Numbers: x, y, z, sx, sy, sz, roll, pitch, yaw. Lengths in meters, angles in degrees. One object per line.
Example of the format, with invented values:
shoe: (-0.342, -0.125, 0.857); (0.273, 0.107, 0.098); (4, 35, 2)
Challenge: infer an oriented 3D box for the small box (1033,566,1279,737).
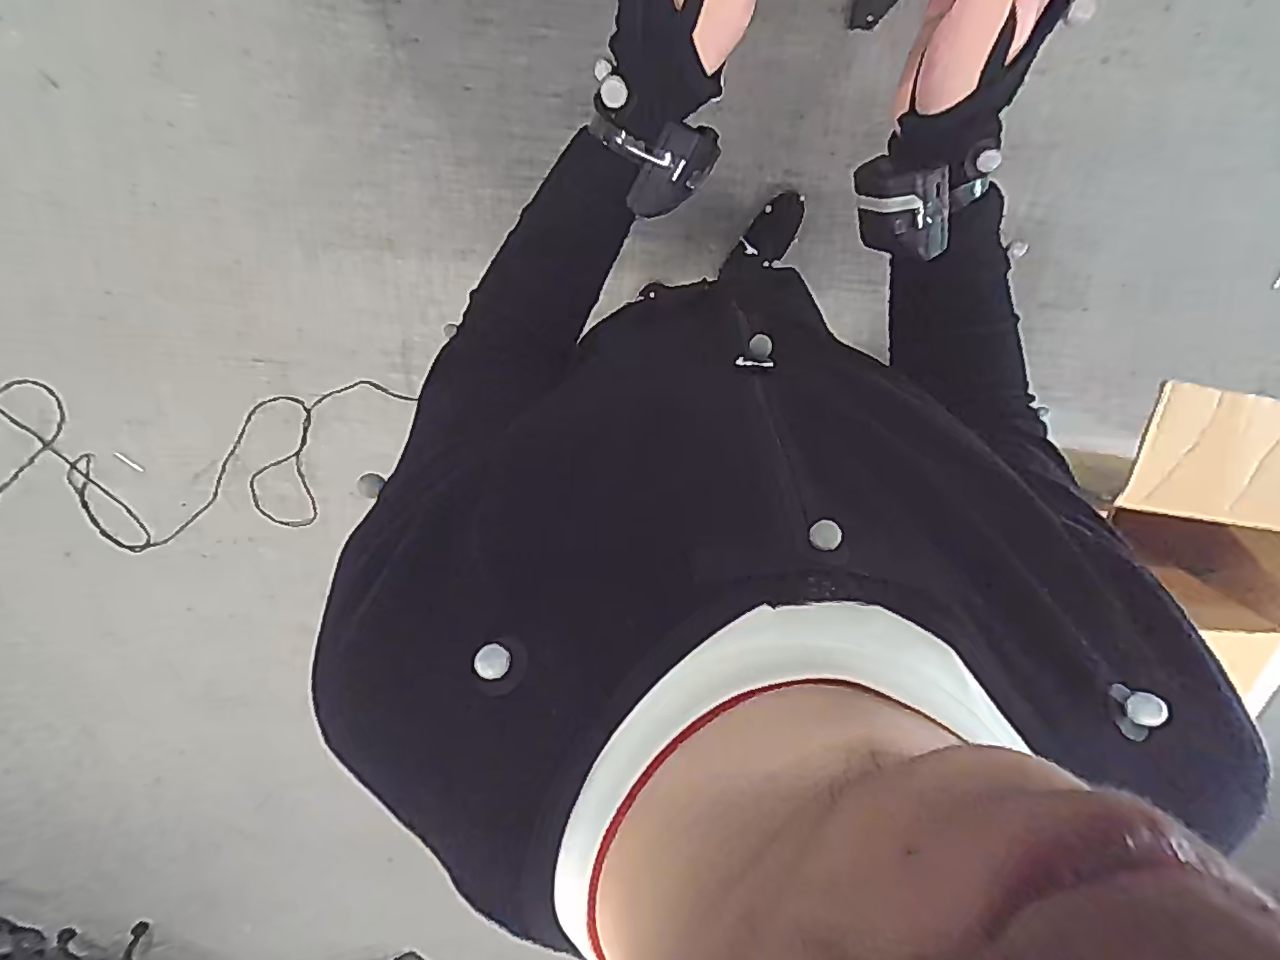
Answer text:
small box: (0.718, 0.236, 0.772); (0.179, 0.176, 0.168); (2, 114, -2)
